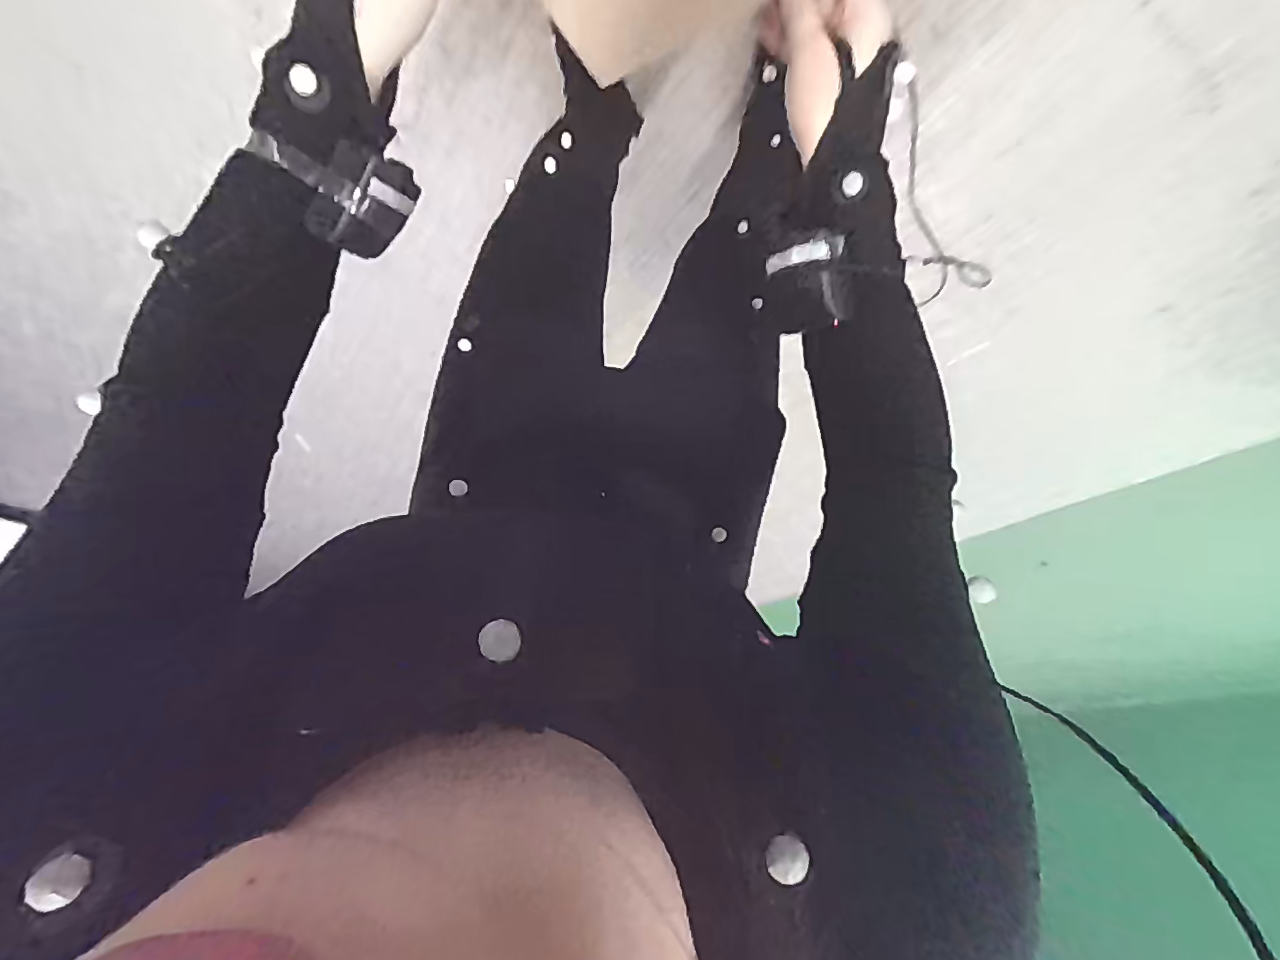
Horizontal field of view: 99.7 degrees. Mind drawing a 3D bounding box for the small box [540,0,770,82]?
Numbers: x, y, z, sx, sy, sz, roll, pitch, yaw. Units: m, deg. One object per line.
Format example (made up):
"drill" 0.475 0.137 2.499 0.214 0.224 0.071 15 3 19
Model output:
"small box" 0.002 -0.419 0.340 0.168 0.176 0.179 -2 163 32
